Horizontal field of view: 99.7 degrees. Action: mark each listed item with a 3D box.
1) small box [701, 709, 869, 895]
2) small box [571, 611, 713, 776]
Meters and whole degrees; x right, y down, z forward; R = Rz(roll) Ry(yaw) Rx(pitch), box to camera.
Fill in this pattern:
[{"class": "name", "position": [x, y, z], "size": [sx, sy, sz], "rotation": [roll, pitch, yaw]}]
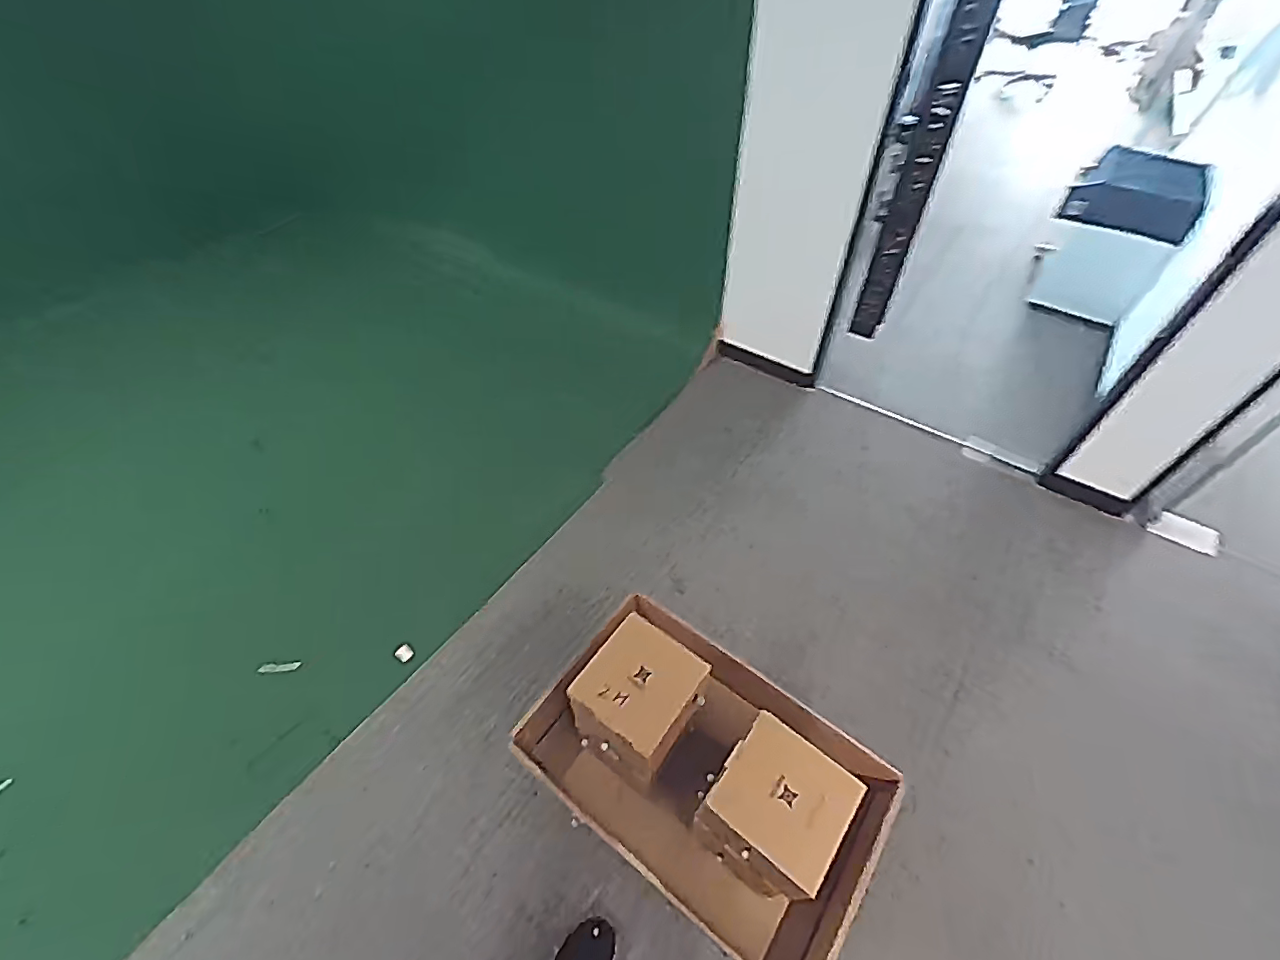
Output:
[{"class": "small box", "position": [0.209, 0.494, 0.826], "size": [0.179, 0.176, 0.168], "rotation": [33, 60, 23]}, {"class": "small box", "position": [0.003, 0.366, 0.926], "size": [0.168, 0.176, 0.179], "rotation": [31, 57, 23]}]
